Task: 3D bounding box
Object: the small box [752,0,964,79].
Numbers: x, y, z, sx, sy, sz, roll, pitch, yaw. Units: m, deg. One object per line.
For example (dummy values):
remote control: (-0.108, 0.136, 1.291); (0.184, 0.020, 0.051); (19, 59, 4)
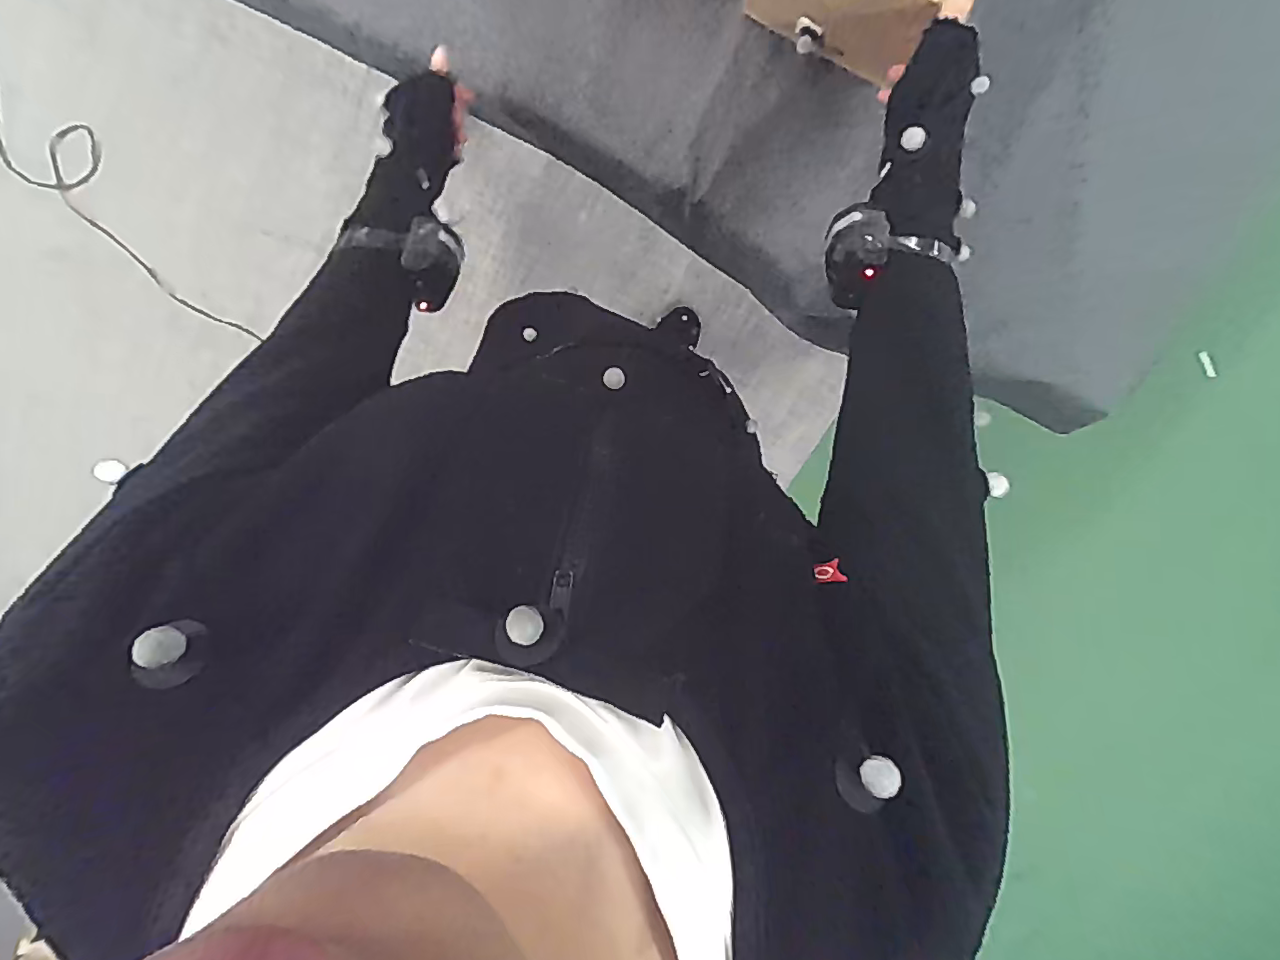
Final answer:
small box: (0.205, -0.485, 0.446); (0.168, 0.176, 0.179); (24, 111, -4)
